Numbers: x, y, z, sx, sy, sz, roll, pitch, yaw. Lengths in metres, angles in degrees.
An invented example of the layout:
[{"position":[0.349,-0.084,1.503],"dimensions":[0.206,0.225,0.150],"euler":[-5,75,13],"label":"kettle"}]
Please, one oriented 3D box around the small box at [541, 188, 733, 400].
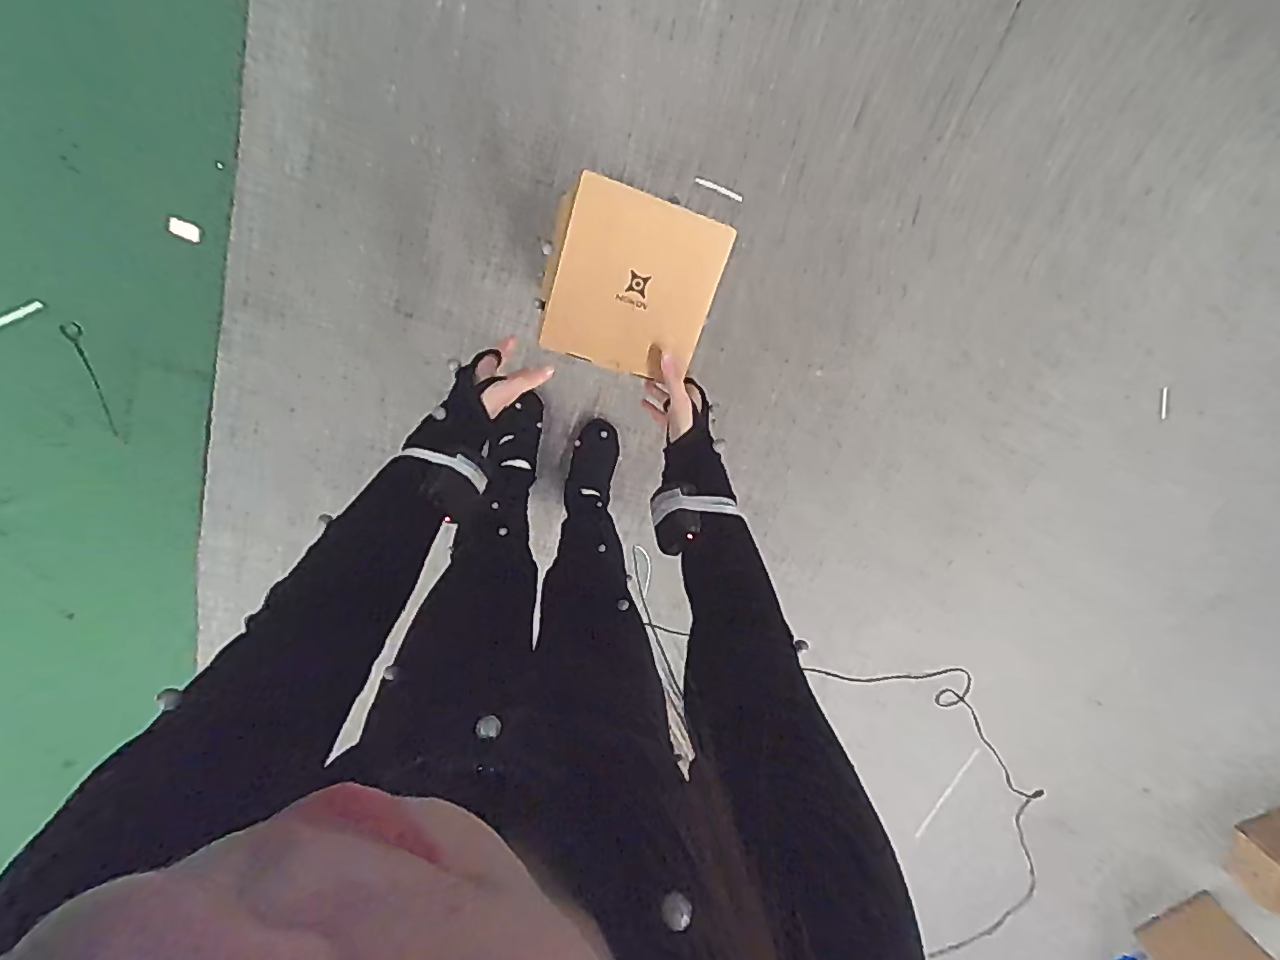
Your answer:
[{"position":[-0.017,-0.218,0.643],"dimensions":[0.168,0.176,0.179],"euler":[15,110,-15],"label":"small box"}]
